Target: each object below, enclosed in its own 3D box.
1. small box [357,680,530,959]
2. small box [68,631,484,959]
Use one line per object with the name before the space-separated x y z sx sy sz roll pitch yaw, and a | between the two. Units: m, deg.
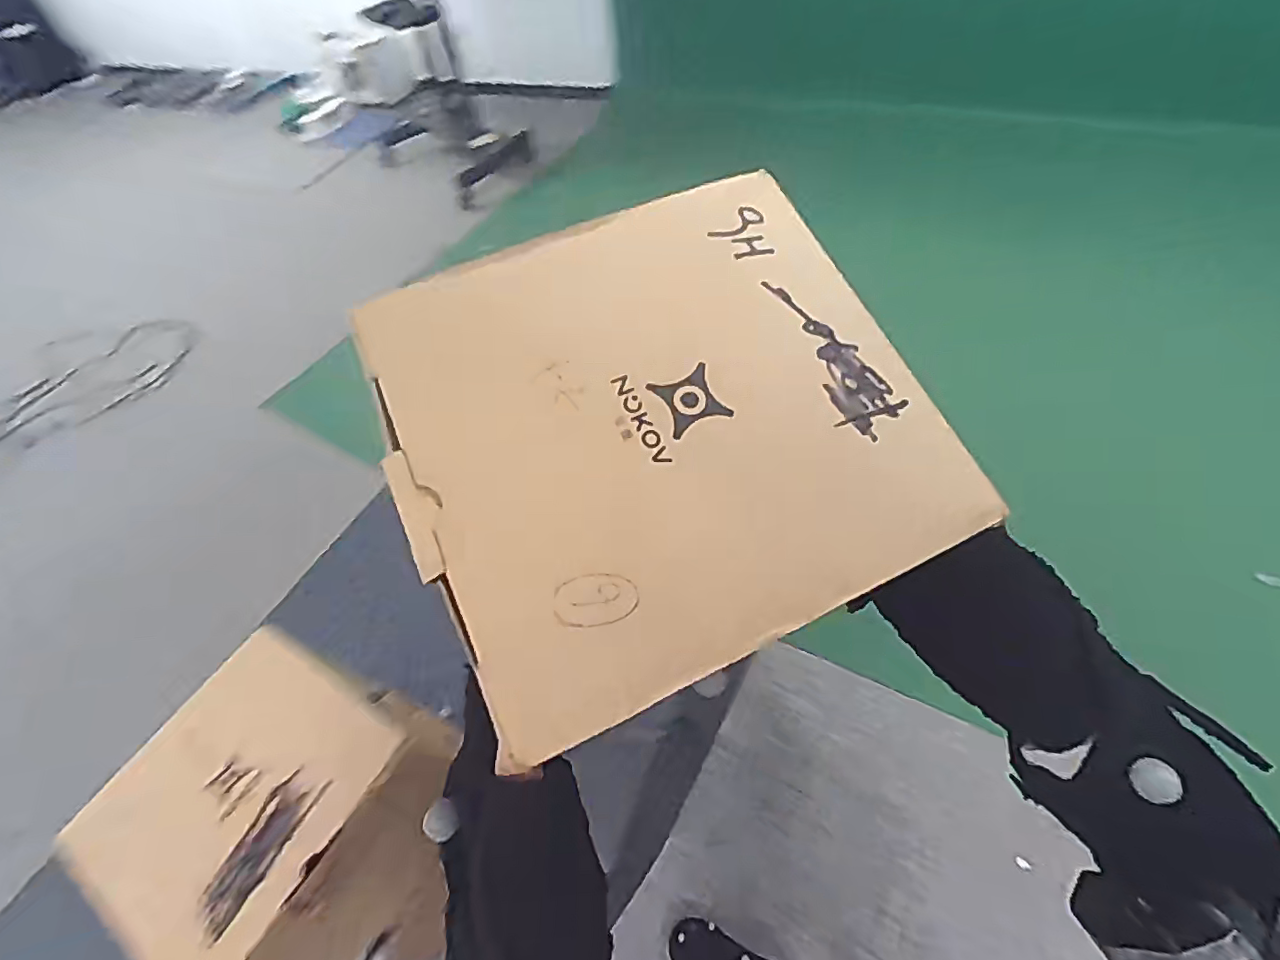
small box | -0.236 0.346 0.561 0.168 0.176 0.179 20 61 24
small box | -0.256 0.251 0.428 0.179 0.176 0.168 18 59 21
